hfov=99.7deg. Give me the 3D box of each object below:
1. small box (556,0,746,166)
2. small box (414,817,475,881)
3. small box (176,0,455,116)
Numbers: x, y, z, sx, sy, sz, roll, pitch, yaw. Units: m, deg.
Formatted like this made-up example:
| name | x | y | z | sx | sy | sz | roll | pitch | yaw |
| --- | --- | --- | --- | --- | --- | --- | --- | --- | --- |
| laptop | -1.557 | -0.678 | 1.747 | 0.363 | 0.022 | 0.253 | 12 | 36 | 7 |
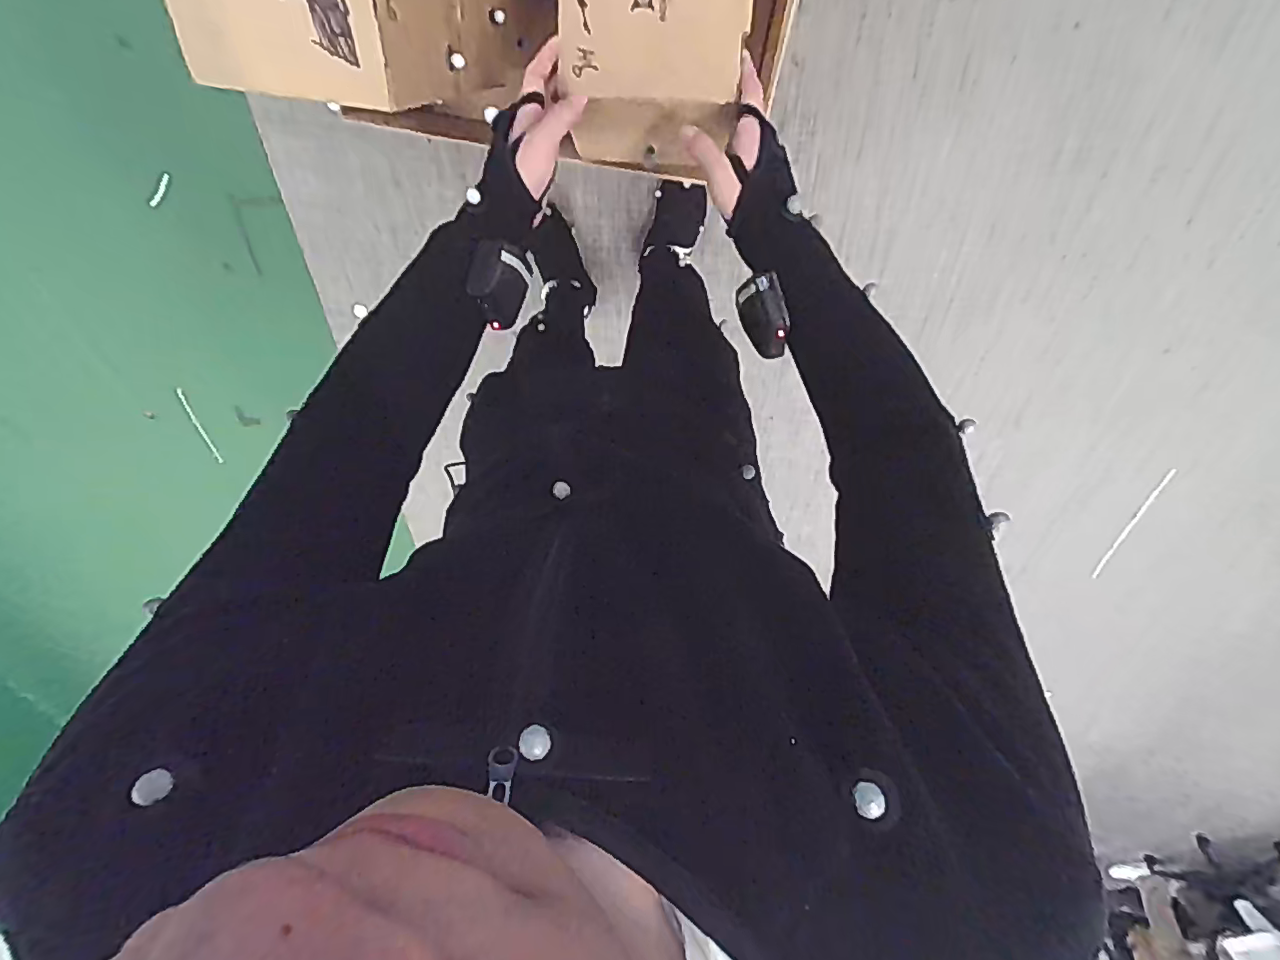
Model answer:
| name | x | y | z | sx | sy | sz | roll | pitch | yaw |
| --- | --- | --- | --- | --- | --- | --- | --- | --- | --- |
| small box | 0.013 | -0.456 | 0.578 | 0.179 | 0.176 | 0.168 | 3 | 101 | 2 |
| small box | -0.797 | 1.516 | 2.222 | 0.168 | 0.176 | 0.179 | 1 | 129 | 5 |
| small box | -0.279 | -0.443 | 0.481 | 0.179 | 0.176 | 0.168 | 9 | 131 | 2 |
